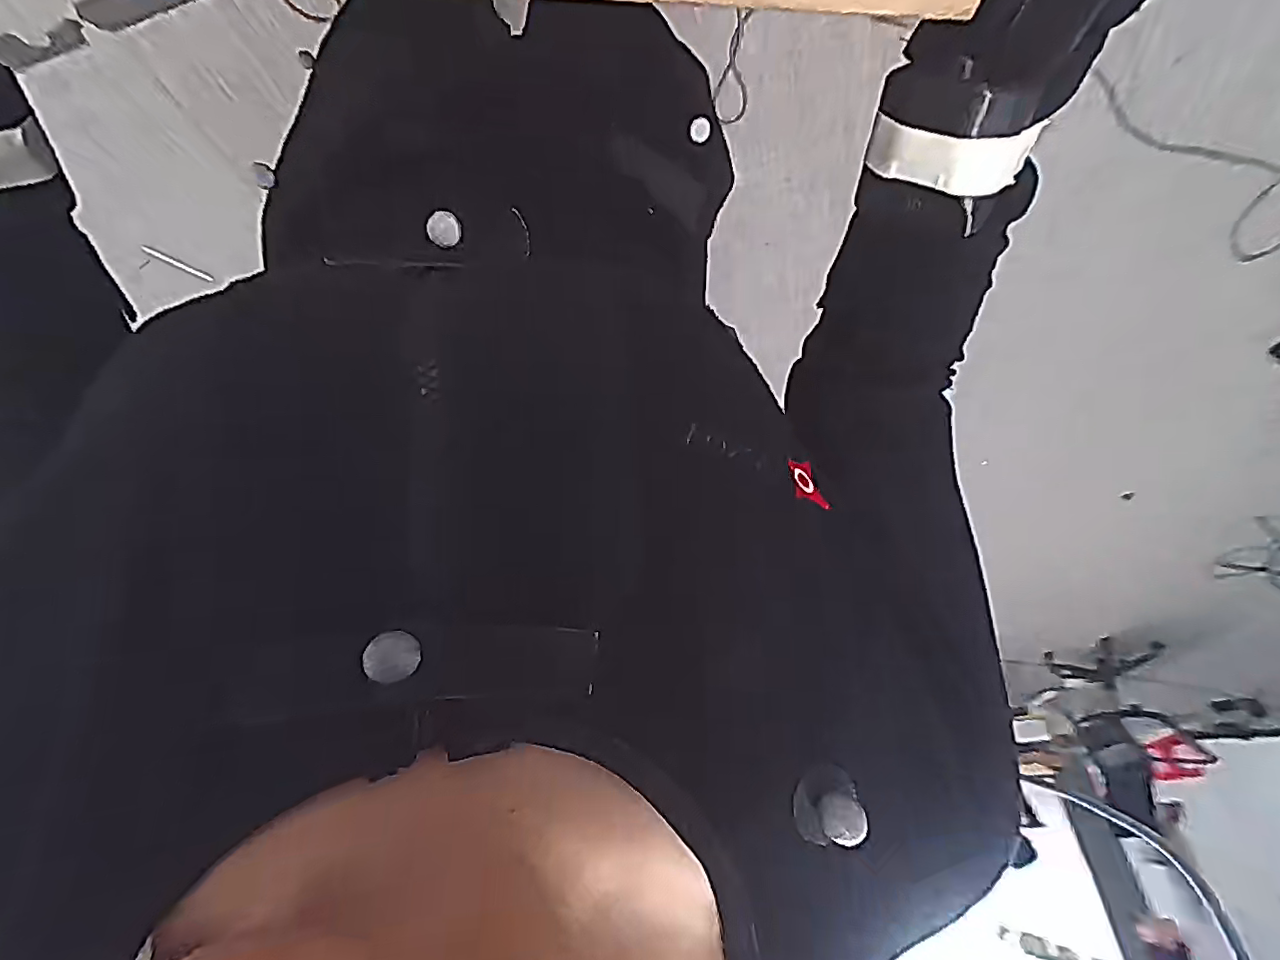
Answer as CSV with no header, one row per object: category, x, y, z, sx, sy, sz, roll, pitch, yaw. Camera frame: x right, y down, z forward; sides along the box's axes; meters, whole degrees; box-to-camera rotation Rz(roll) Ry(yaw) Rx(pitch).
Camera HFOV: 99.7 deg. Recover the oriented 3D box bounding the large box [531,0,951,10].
large box,-0.073,-0.390,0.155,0.408,0.320,0.320,-1,149,-4
